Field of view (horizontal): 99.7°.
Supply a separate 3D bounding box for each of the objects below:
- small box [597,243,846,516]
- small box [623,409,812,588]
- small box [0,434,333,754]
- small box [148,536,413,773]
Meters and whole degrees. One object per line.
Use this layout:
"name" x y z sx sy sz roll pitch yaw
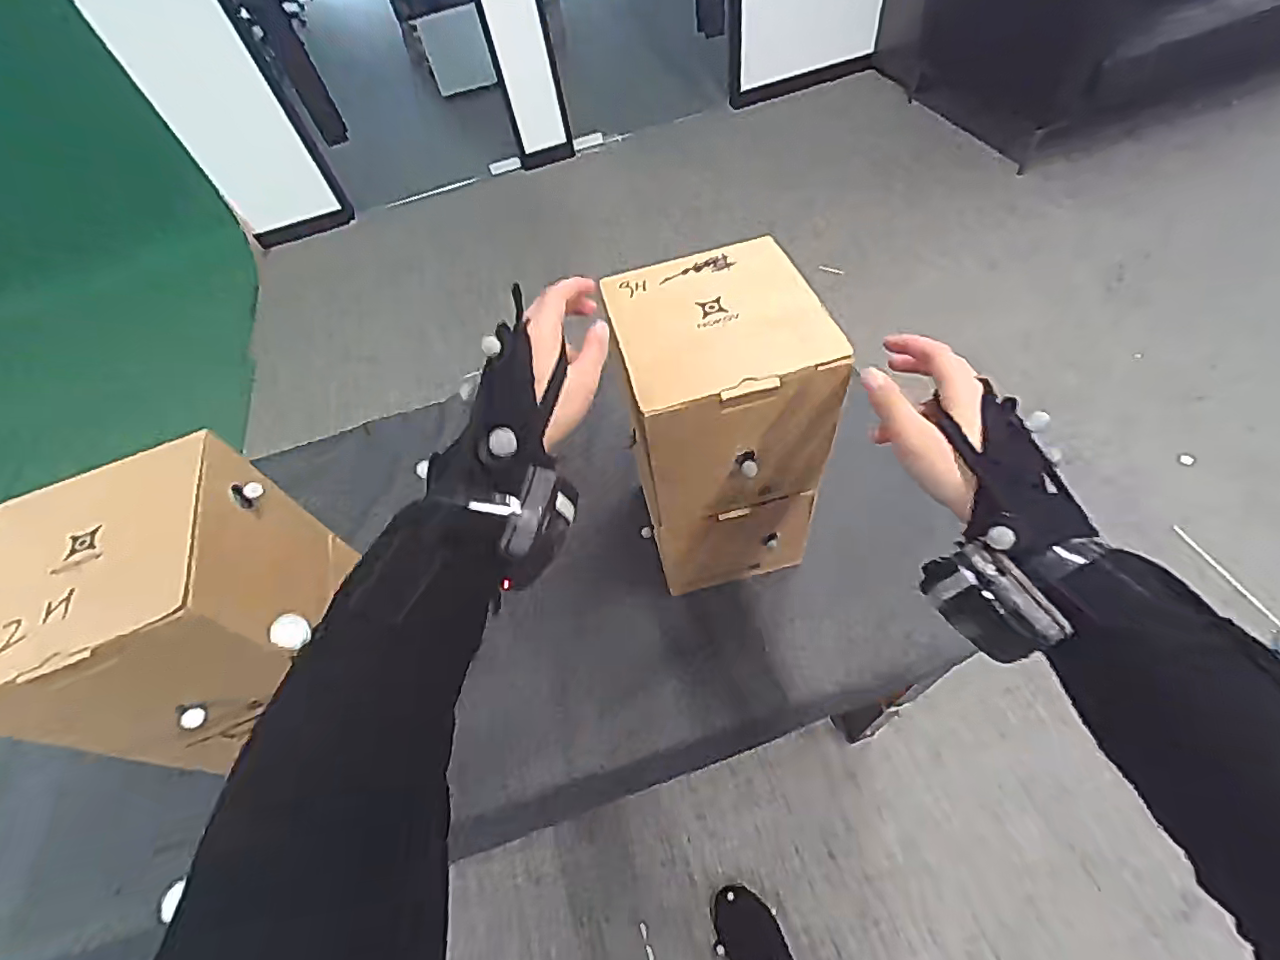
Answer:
"small box" 0.068 -0.083 0.508 0.168 0.176 0.179 -15 55 -2
"small box" 0.086 0.012 0.640 0.168 0.176 0.179 -14 53 -2
"small box" -0.385 0.099 0.451 0.168 0.176 0.179 -23 55 -6
"small box" -0.362 0.195 0.582 0.168 0.176 0.179 -20 53 -6
